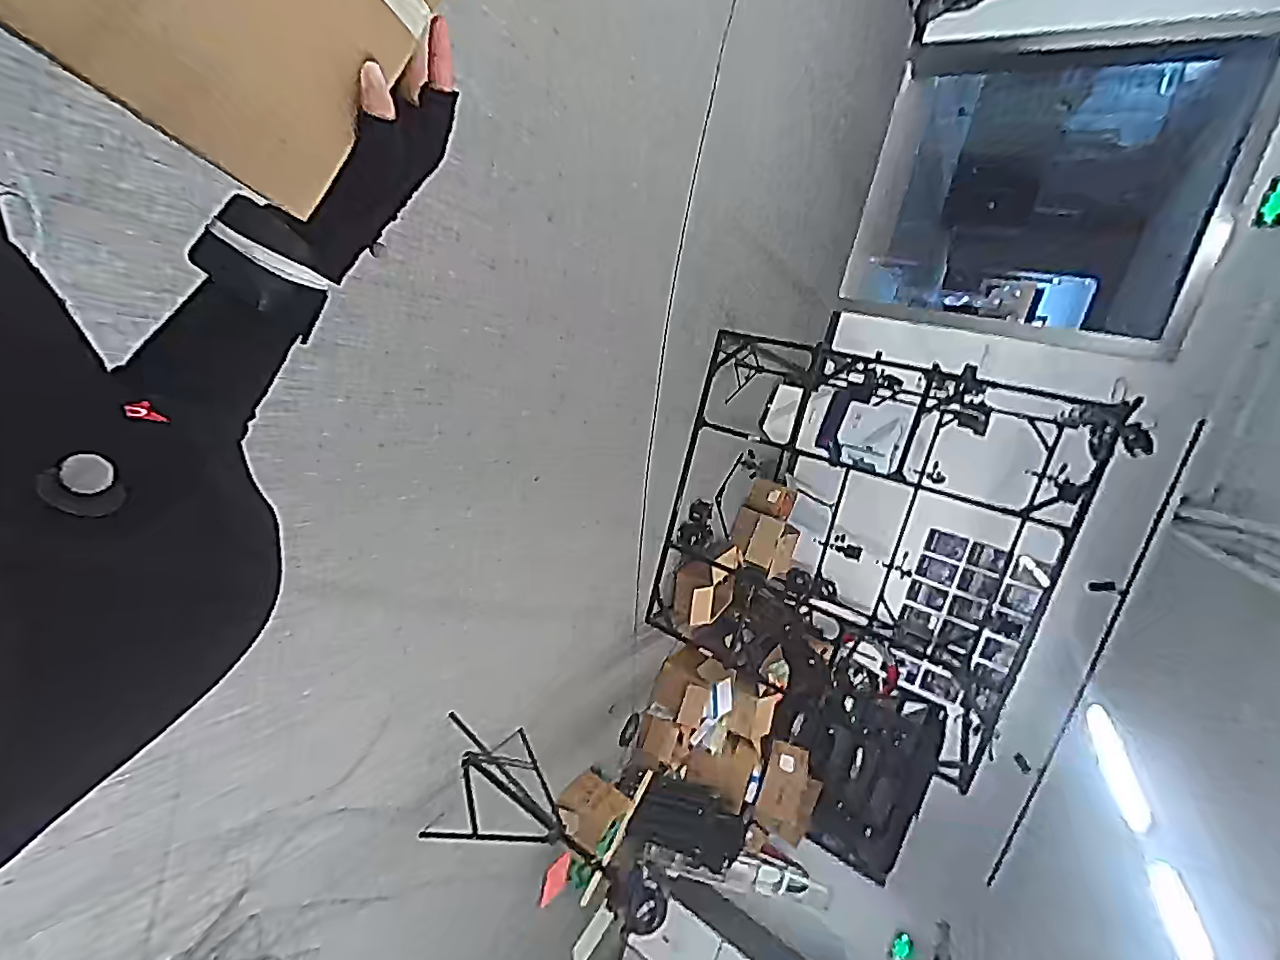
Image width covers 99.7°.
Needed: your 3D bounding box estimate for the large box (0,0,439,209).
[{"bbox_3d":[-0.355,-0.442,0.299,0.320,0.320,0.408,-56,147,3],"label":"large box"}]
